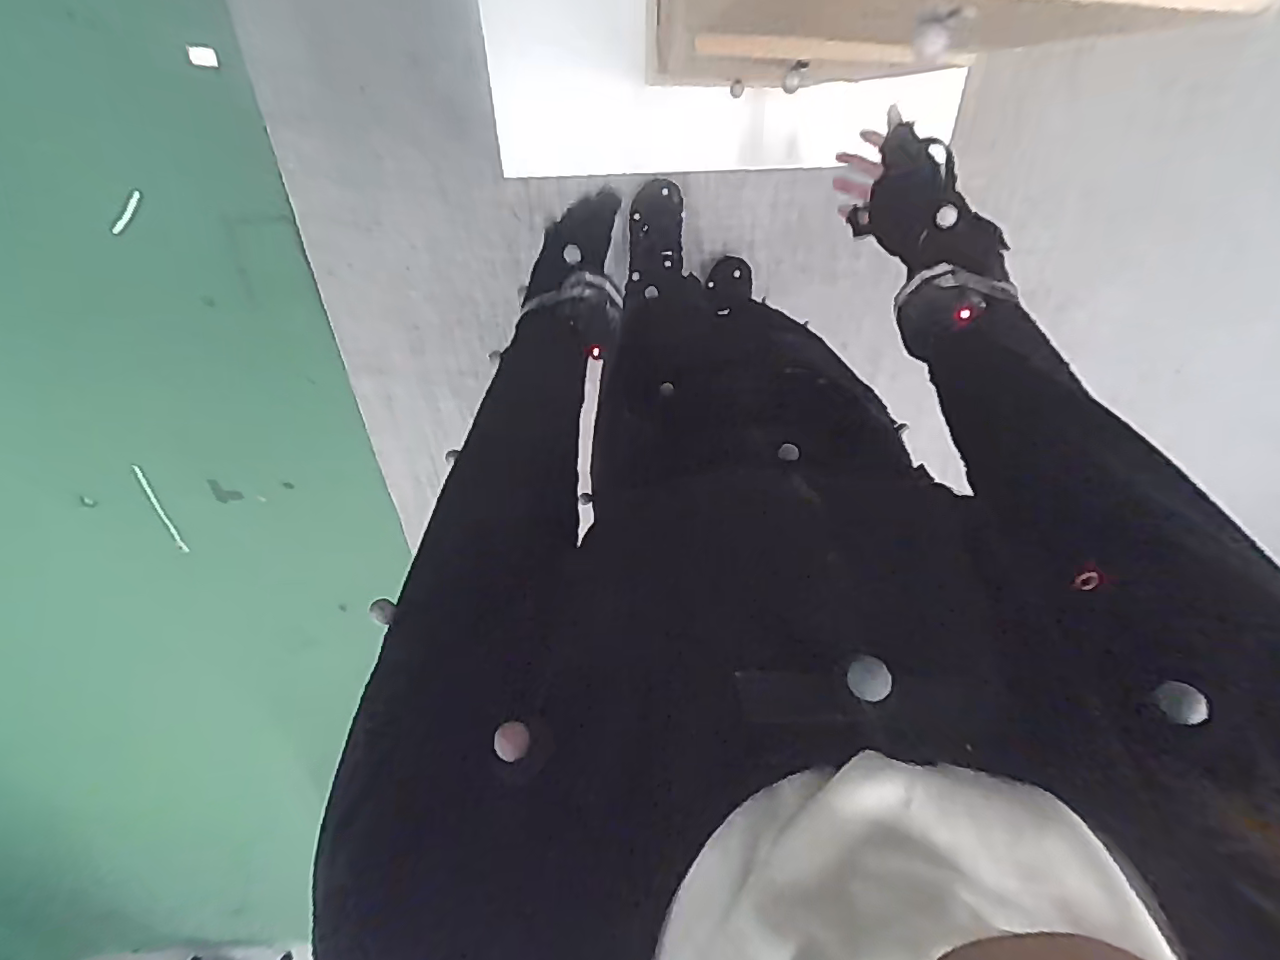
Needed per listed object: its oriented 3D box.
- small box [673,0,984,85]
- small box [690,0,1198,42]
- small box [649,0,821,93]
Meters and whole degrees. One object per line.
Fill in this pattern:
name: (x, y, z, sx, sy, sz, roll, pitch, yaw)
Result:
small box: (0.111, -0.359, 0.334, 0.168, 0.176, 0.179, -3, 124, -2)
small box: (0.115, -0.272, 0.194, 0.179, 0.176, 0.168, 1, 125, -3)
small box: (0.098, -0.443, 0.470, 0.179, 0.176, 0.168, -1, 123, -2)
